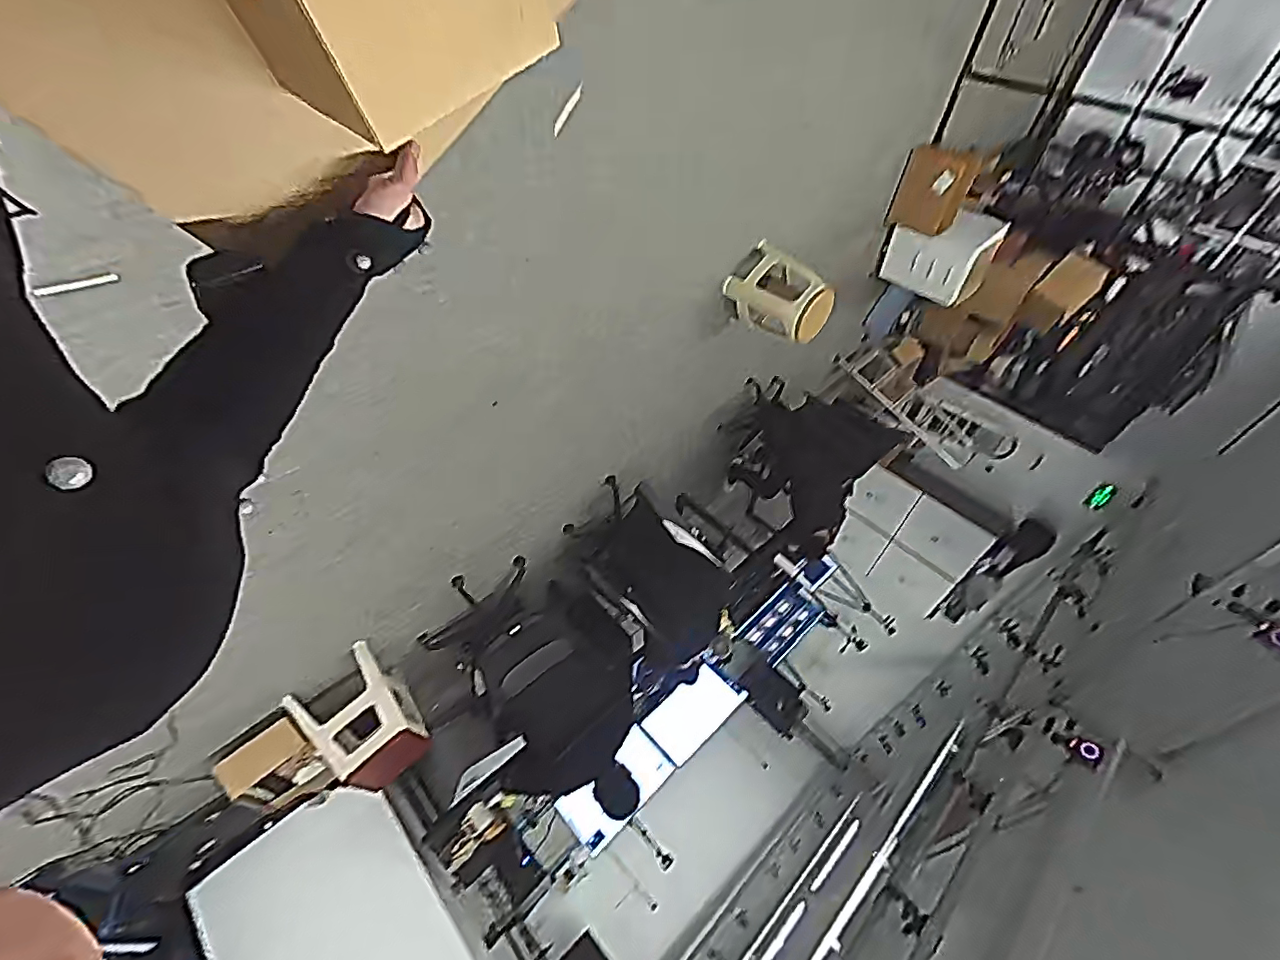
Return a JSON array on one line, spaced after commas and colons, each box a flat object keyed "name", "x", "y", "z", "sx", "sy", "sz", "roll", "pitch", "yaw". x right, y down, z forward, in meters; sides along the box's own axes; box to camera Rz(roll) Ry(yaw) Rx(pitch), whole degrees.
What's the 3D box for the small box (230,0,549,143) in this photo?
[{"name": "small box", "x": -0.196, "y": -0.377, "z": 0.364, "sx": 0.168, "sy": 0.176, "sz": 0.179, "roll": -43, "pitch": 152, "yaw": -13}]
